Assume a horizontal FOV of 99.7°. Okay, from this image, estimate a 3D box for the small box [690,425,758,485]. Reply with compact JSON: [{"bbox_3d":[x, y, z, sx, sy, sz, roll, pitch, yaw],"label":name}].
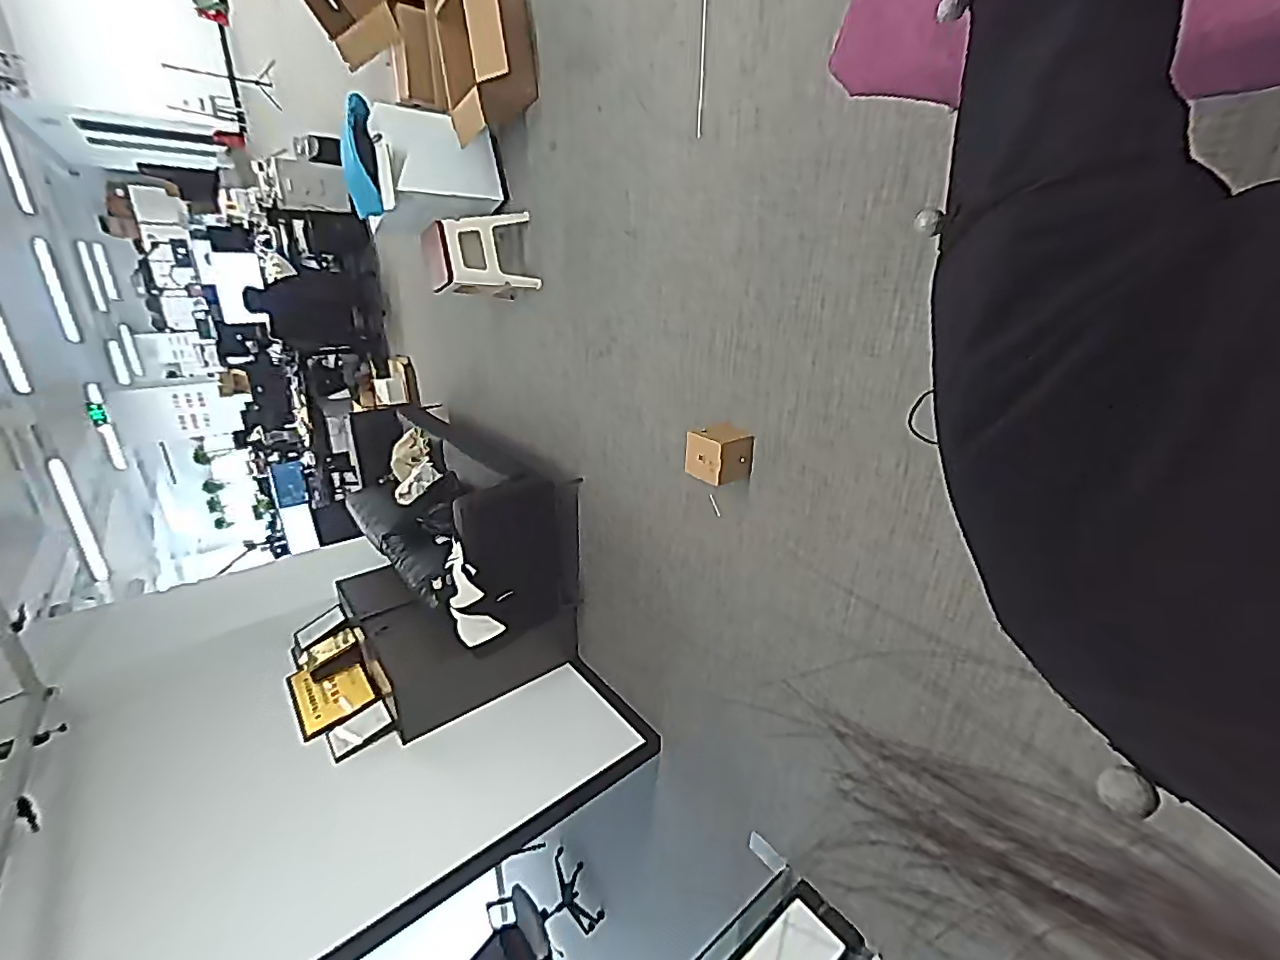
[{"bbox_3d":[0.309,-0.099,1.996,0.179,0.176,0.168,26,124,45],"label":"small box"}]
